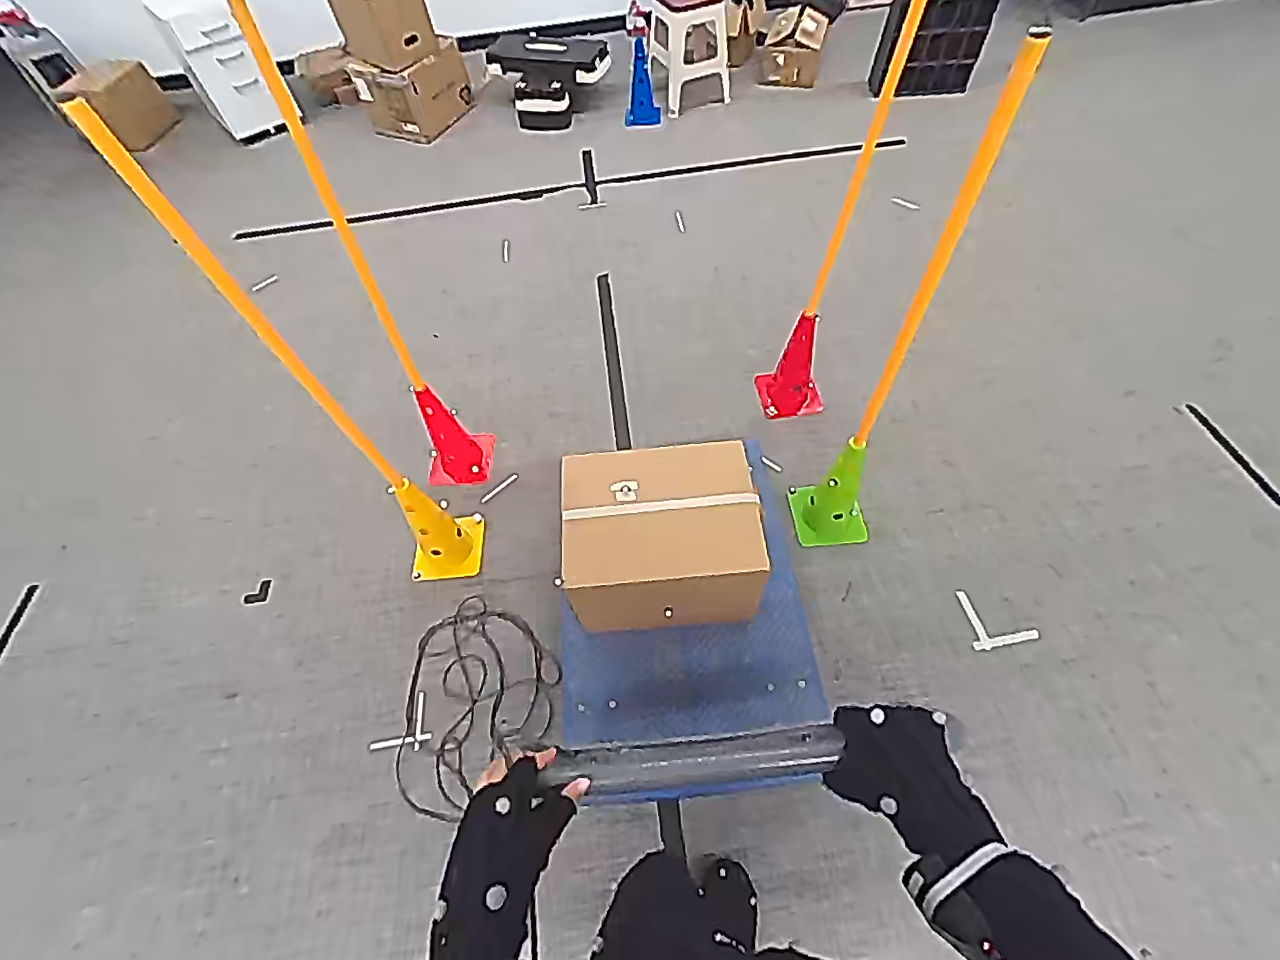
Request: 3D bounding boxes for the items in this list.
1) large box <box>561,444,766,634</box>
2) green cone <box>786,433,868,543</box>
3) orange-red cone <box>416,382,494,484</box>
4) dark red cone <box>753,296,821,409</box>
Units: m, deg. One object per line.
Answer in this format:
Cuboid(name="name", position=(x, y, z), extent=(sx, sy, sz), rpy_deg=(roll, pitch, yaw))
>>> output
Cuboid(name="large box", position=(0.047, 0.147, 1.245), extent=(0.408, 0.320, 0.320), rpy_deg=(-6, 57, 1))
Cuboid(name="green cone", position=(0.543, 0.001, 1.473), extent=(0.202, 0.368, 0.200), rpy_deg=(-4, 57, 0))
Cuboid(name="orange-red cone", position=(-0.607, -0.167, 1.671), extent=(0.198, 0.360, 0.199), rpy_deg=(-1, 56, 2))
Cuboid(name="dark red cone", position=(0.499, -0.412, 1.723), extent=(0.201, 0.394, 0.202), rpy_deg=(-7, 57, -3))
